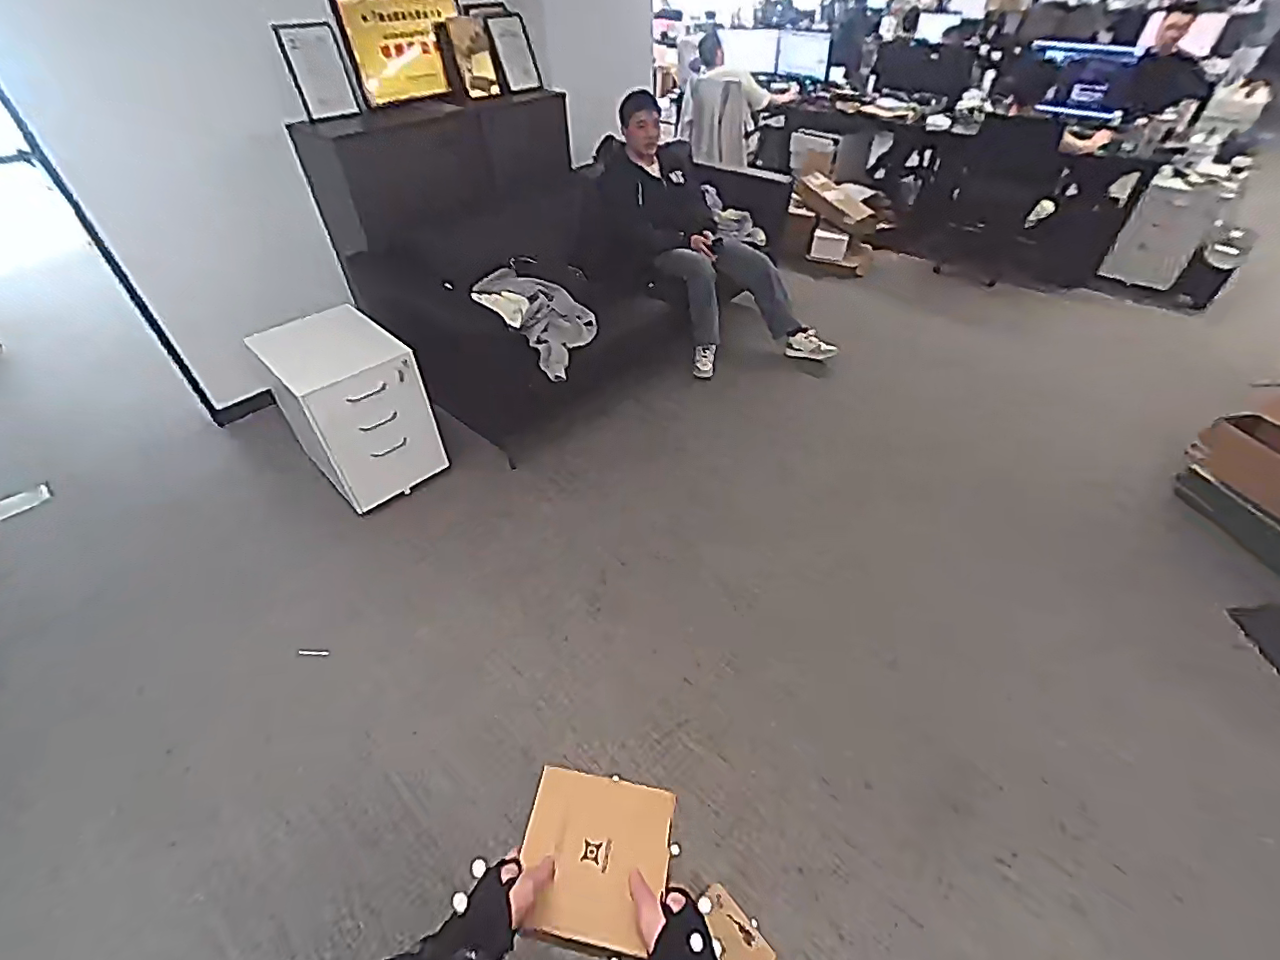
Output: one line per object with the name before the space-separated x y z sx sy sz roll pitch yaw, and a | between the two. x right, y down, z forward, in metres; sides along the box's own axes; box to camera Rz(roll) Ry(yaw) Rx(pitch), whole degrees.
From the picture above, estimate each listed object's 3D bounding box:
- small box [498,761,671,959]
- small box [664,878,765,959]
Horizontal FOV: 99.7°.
small box | -0.060 0.497 0.707 0.179 0.176 0.168 7 44 8
small box | 0.154 0.983 1.133 0.179 0.176 0.168 12 42 16
